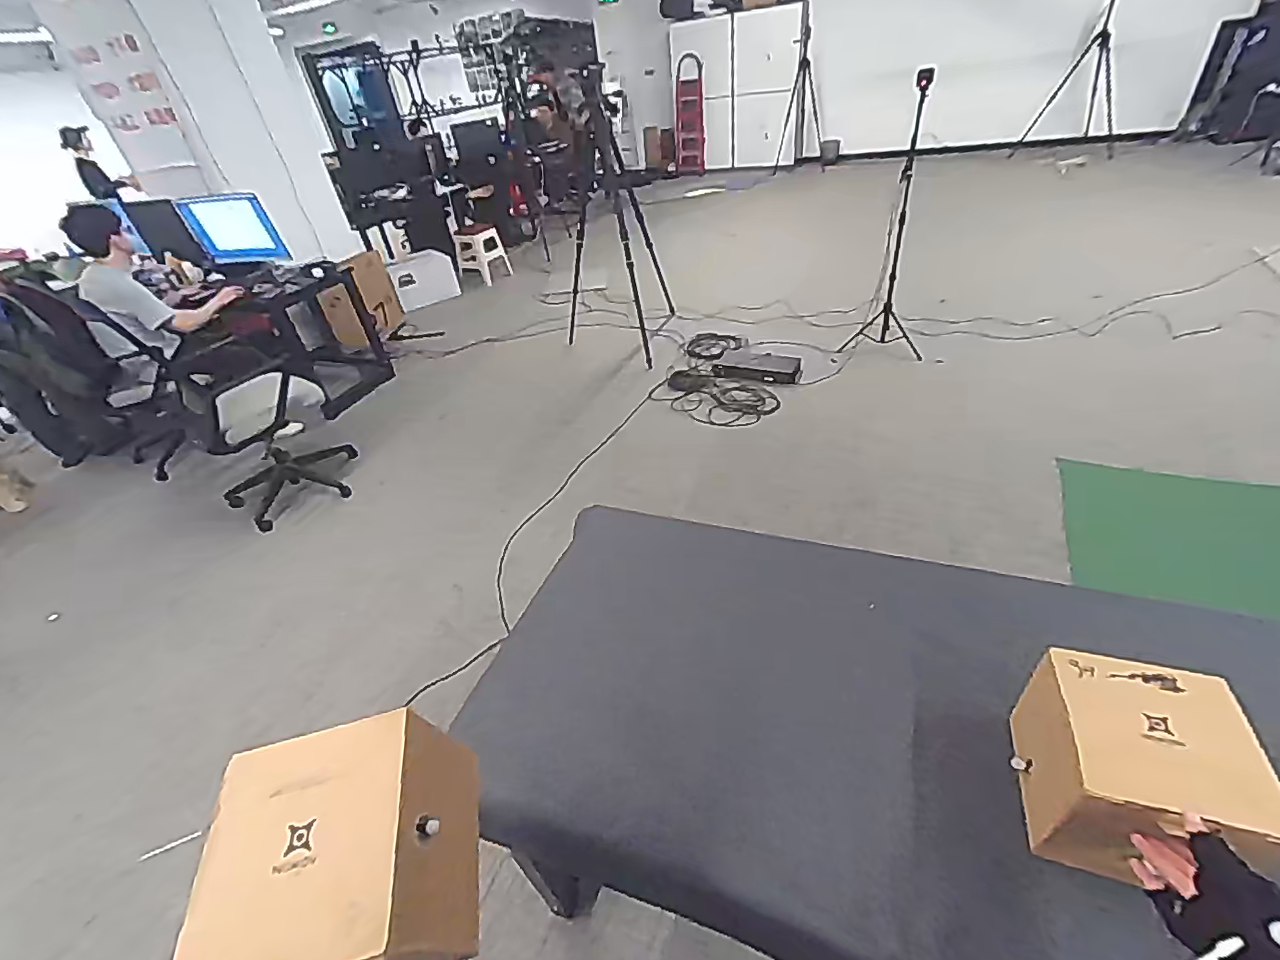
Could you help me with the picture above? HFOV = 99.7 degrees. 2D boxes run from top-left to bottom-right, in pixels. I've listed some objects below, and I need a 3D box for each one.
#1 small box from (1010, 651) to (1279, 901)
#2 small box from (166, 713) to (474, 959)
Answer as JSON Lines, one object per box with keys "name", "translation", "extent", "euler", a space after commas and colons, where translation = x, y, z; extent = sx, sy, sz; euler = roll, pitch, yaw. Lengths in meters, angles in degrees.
{"name": "small box", "translation": [0.545, 0.330, 0.609], "extent": [0.168, 0.176, 0.179], "euler": [8, 41, 19]}
{"name": "small box", "translation": [-0.257, 0.340, 0.481], "extent": [0.168, 0.176, 0.179], "euler": [-15, 48, -2]}
